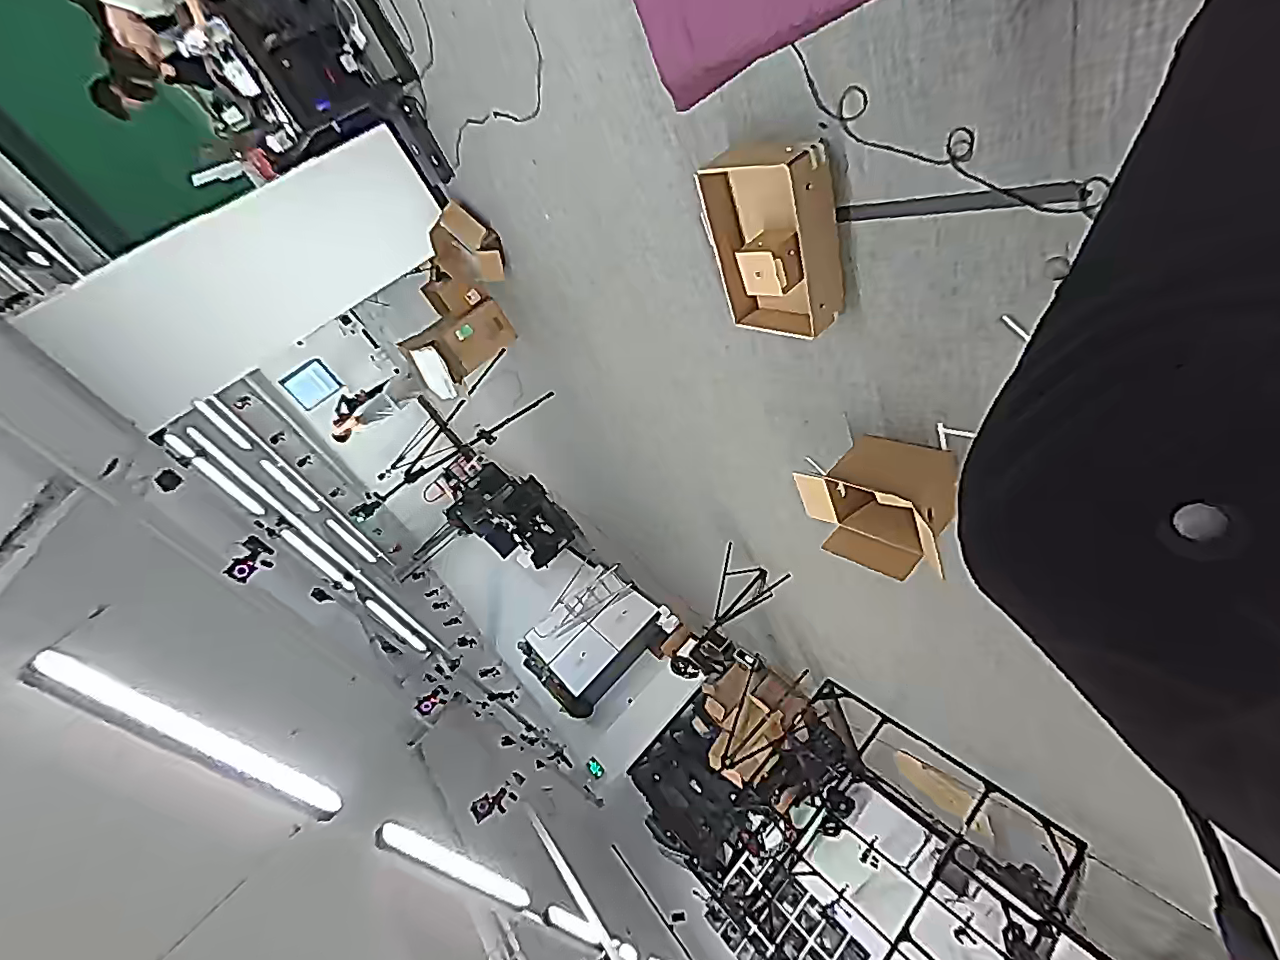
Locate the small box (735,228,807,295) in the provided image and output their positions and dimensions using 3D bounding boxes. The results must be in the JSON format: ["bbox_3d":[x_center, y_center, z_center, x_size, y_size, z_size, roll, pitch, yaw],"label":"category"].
[{"bbox_3d":[0.477,-0.782,1.932,0.179,0.176,0.168,26,151,49],"label":"small box"}]
